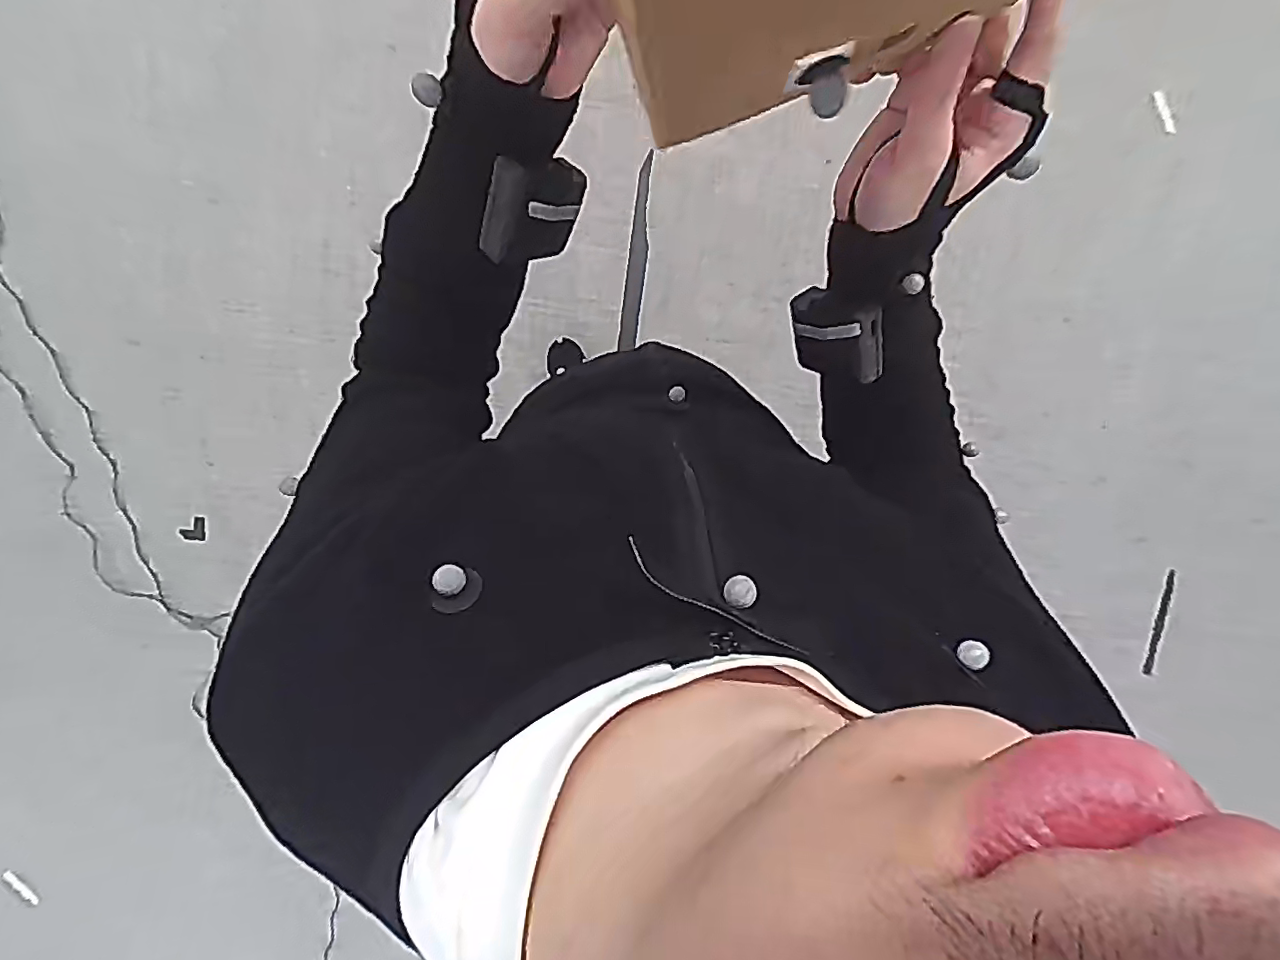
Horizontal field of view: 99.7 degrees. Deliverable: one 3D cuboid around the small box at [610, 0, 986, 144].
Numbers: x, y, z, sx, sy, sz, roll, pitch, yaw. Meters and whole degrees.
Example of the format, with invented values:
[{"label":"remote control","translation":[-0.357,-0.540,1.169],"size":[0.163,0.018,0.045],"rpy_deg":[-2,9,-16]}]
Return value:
[{"label":"small box","translation":[0.048,-0.241,0.159],"size":[0.168,0.176,0.179],"rpy_deg":[-19,106,13]}]
